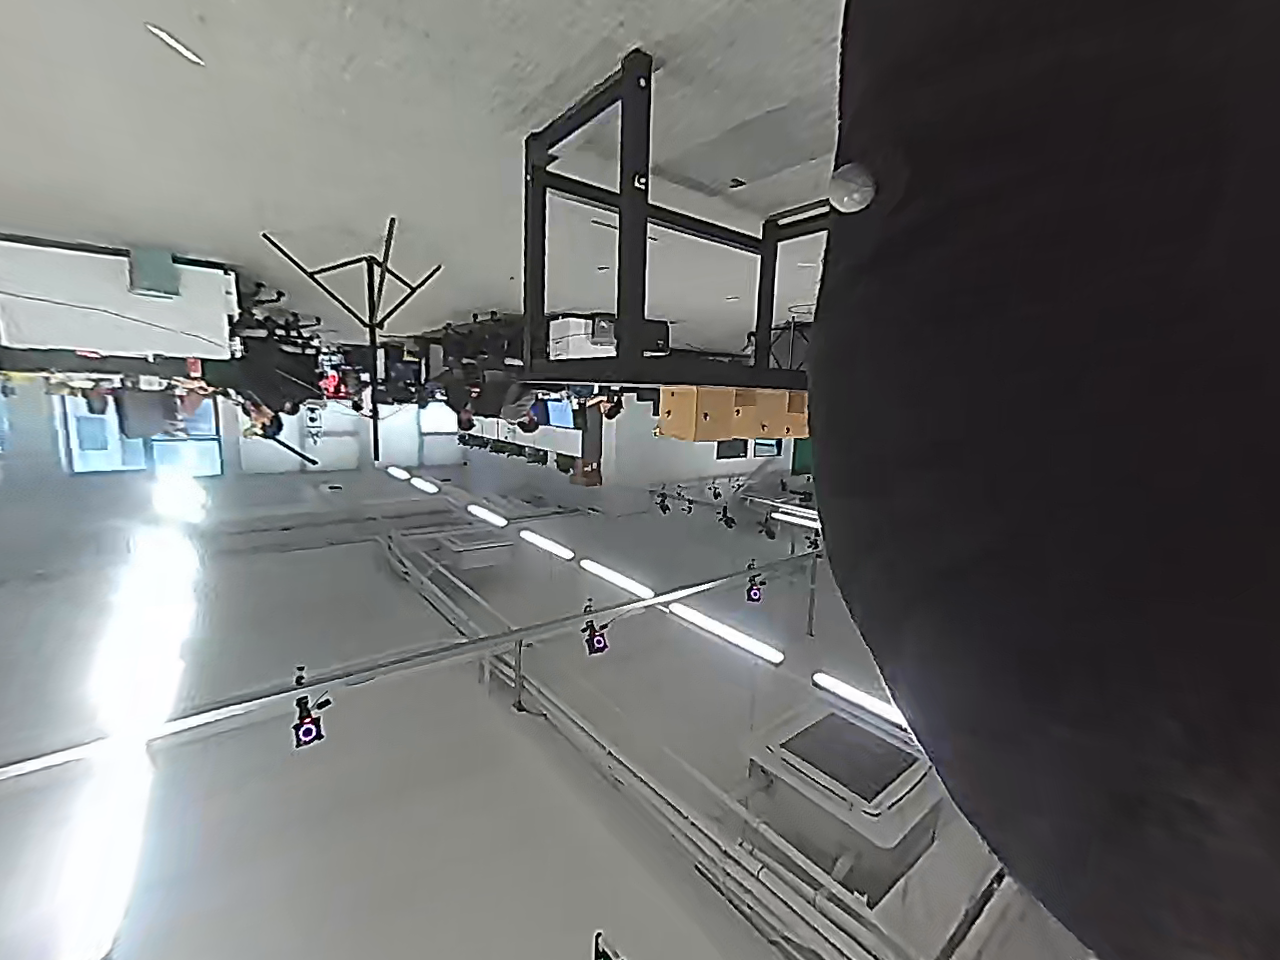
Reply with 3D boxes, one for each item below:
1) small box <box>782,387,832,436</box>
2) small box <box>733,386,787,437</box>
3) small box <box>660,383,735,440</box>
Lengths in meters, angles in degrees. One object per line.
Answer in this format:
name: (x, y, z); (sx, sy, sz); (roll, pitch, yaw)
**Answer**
small box: (0.607, -0.261, 2.048); (0.179, 0.176, 0.168); (-5, -168, -36)
small box: (0.393, -0.240, 1.880); (0.179, 0.176, 0.168); (-6, -167, -39)
small box: (0.181, -0.221, 1.708); (0.179, 0.176, 0.168); (-6, -166, -38)
